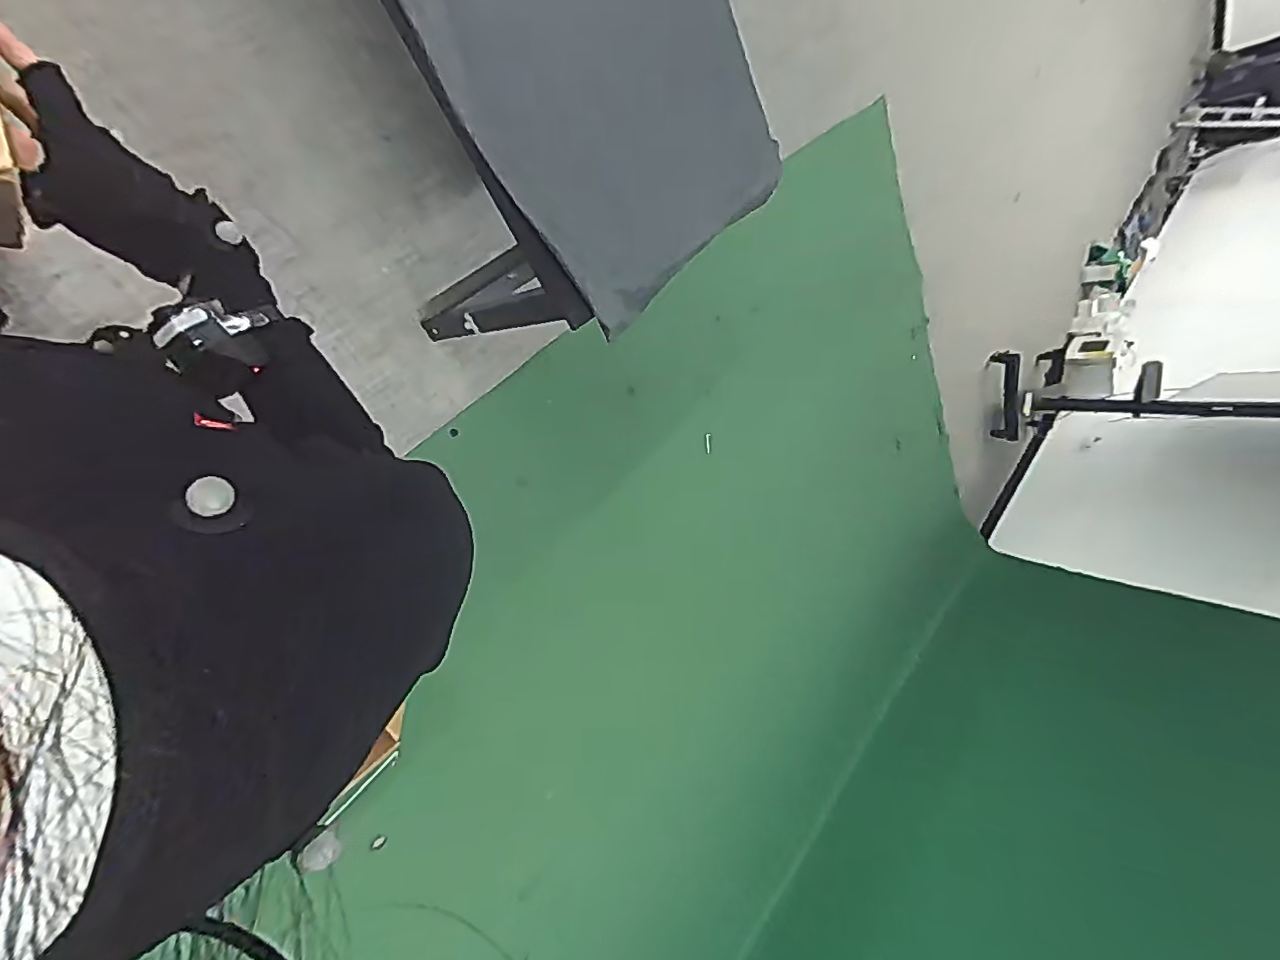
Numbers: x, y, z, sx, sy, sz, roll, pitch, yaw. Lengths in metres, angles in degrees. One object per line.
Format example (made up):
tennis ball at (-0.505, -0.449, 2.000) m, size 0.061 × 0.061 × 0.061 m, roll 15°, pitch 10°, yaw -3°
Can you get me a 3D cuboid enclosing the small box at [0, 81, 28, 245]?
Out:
small box at (-0.437, -0.228, 0.256) m, size 0.168 × 0.176 × 0.179 m, roll -17°, pitch 107°, yaw -46°
